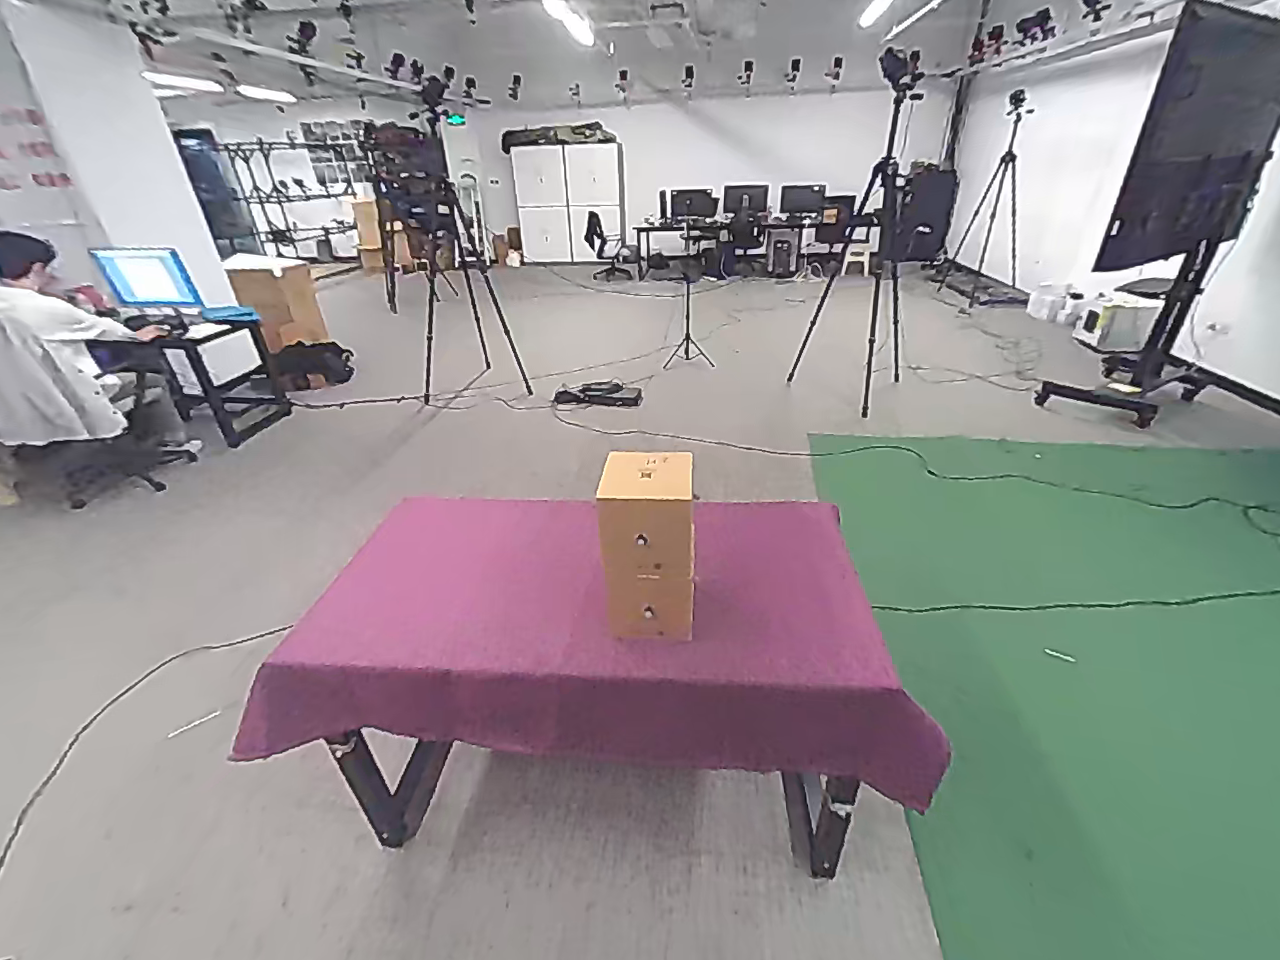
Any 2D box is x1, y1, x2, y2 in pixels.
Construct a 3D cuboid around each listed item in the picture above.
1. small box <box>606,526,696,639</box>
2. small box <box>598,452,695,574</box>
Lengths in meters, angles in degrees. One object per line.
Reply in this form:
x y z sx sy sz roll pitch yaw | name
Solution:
0.030 0.203 1.106 0.168 0.176 0.179 2 31 6 | small box
0.020 0.060 1.023 0.168 0.176 0.179 2 30 6 | small box
